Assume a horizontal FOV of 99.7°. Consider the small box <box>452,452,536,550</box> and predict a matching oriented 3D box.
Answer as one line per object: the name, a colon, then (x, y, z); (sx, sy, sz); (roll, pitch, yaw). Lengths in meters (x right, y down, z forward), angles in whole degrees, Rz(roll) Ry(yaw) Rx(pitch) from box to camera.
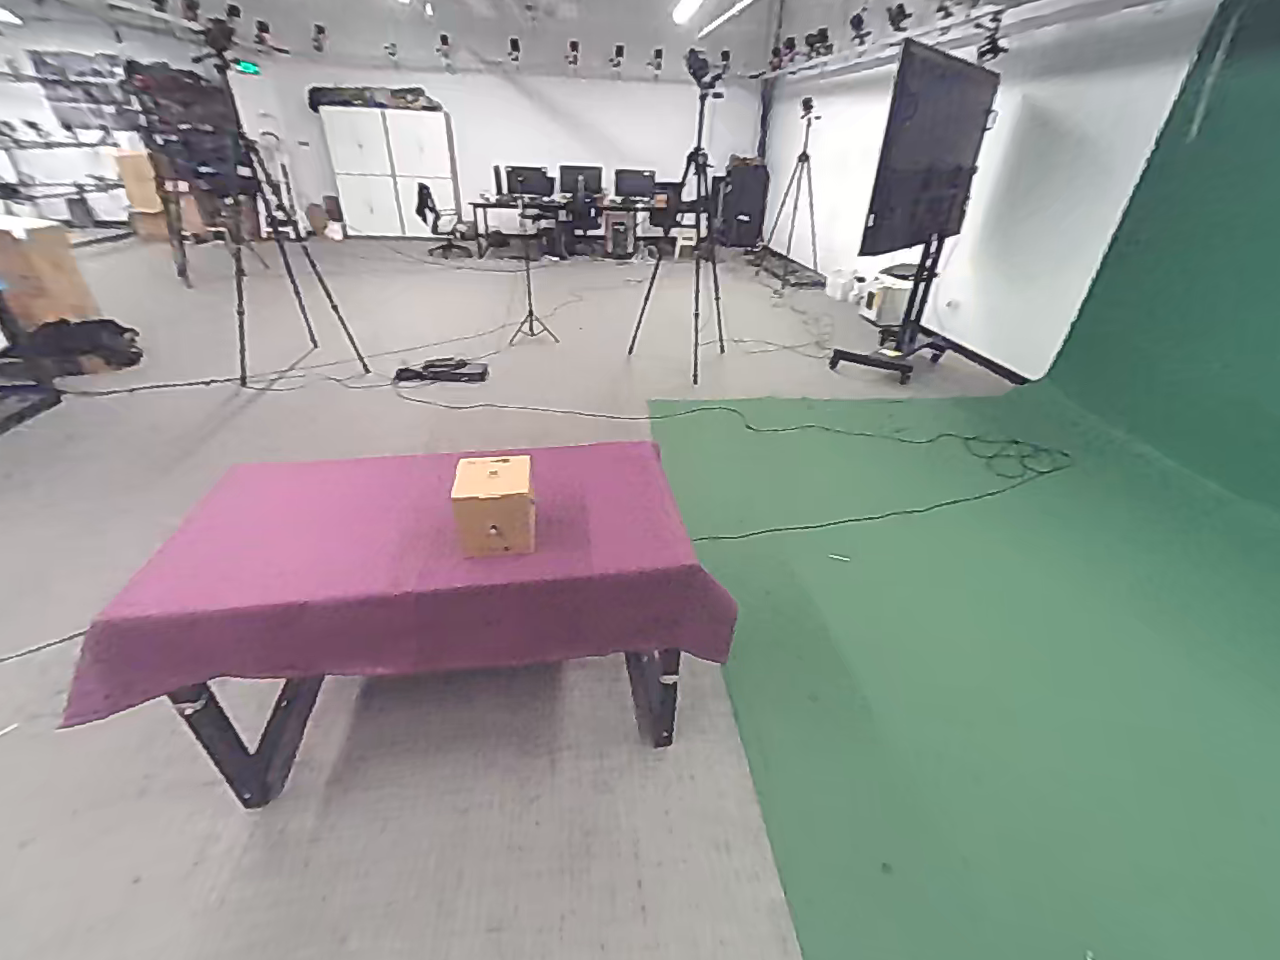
small box: (-0.333, 0.053, 1.269); (0.168, 0.176, 0.179); (-3, 33, -8)
